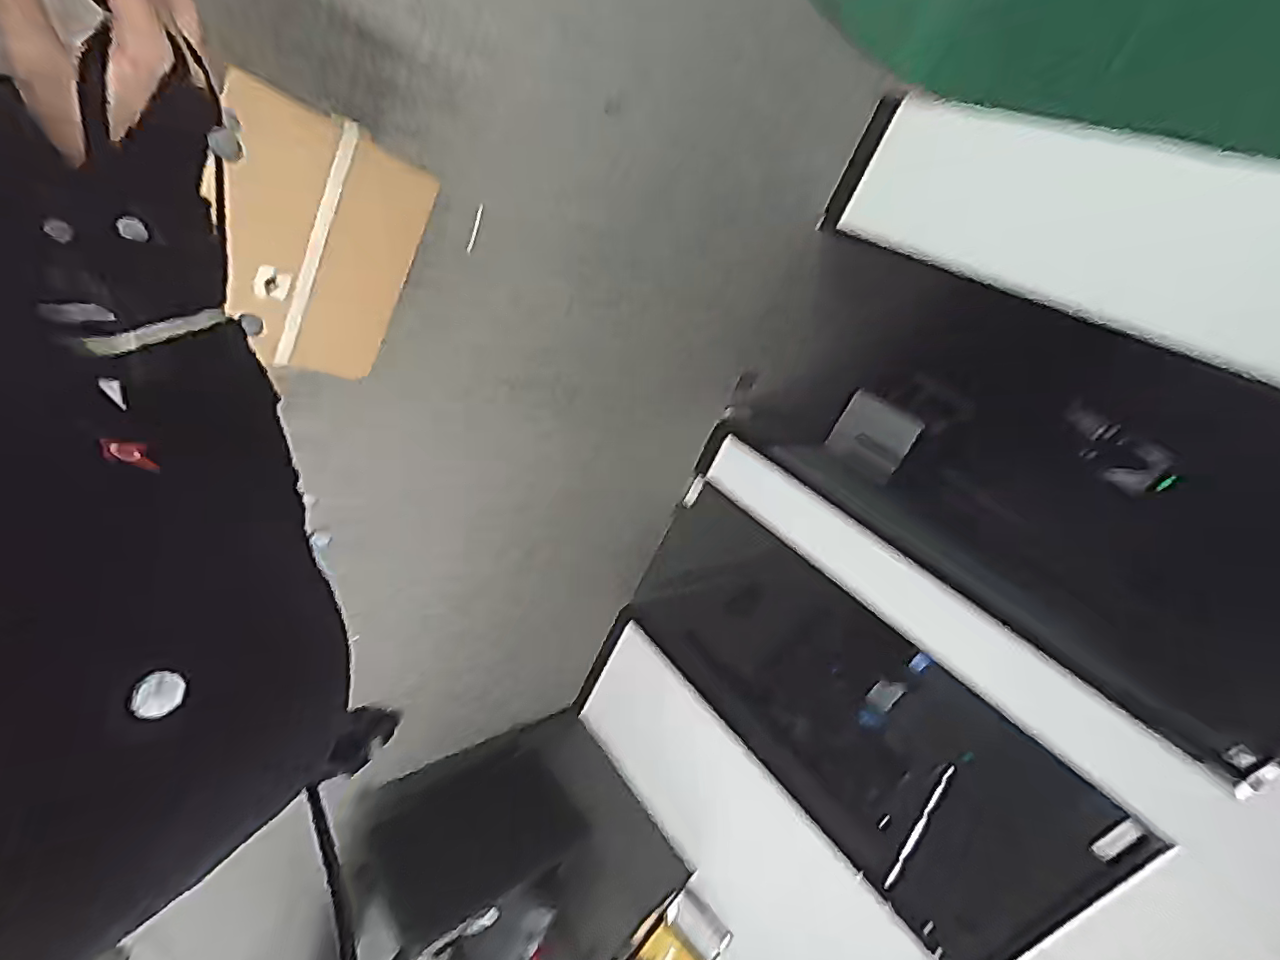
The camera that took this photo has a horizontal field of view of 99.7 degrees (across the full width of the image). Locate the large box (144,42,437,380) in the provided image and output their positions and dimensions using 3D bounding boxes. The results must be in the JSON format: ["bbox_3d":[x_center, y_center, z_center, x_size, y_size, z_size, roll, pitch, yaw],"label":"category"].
[{"bbox_3d":[-0.632,-0.454,0.968,0.320,0.320,0.408,7,119,-51],"label":"large box"}]
